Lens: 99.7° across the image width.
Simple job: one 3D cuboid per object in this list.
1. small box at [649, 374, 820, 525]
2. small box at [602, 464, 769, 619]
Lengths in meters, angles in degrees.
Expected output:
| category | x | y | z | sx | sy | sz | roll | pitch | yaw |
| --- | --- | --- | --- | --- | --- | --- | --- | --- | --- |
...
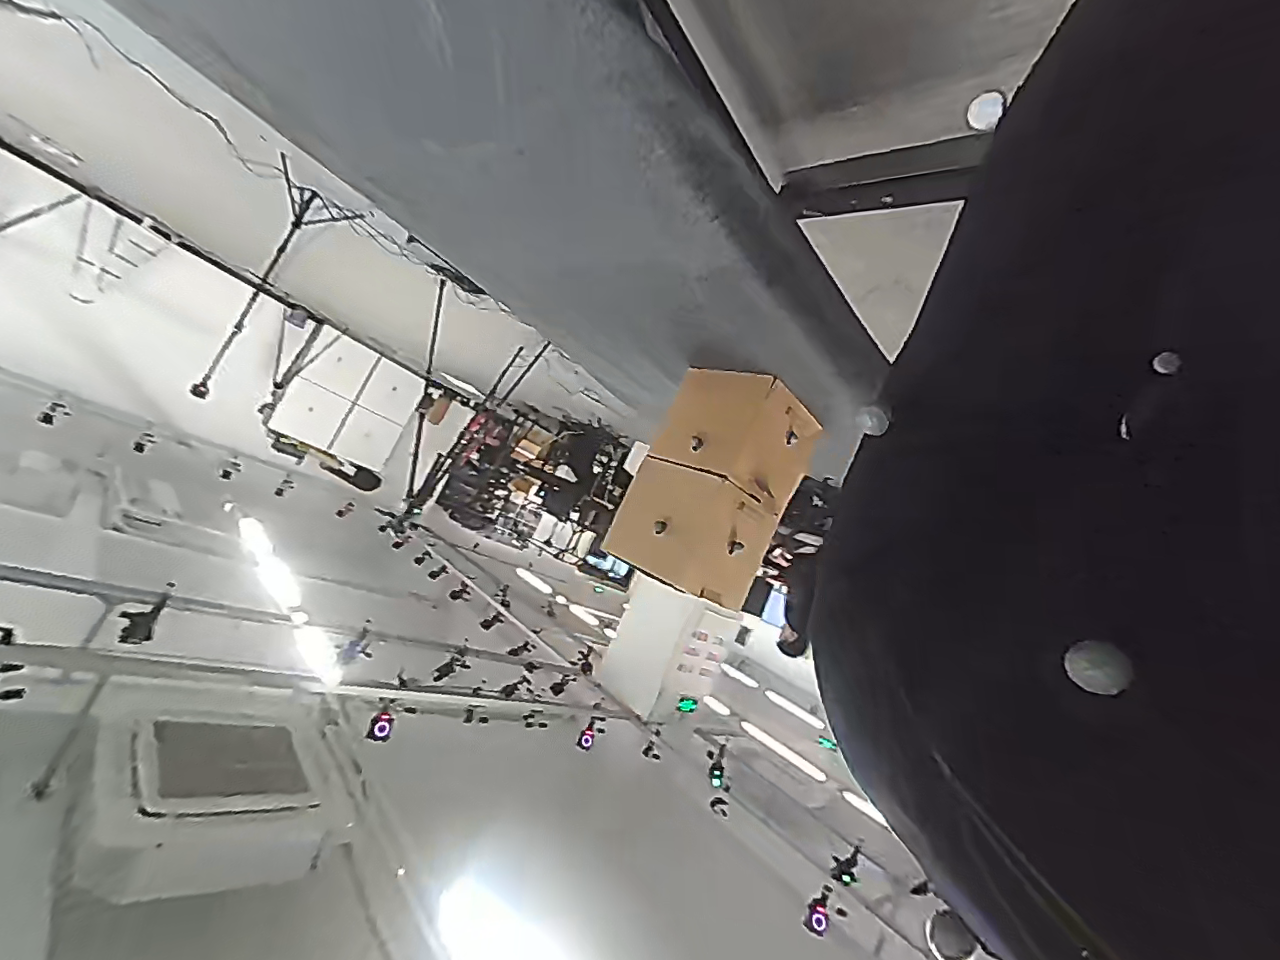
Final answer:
| category | x | y | z | sx | sy | sz | roll | pitch | yaw |
| --- | --- | --- | --- | --- | --- | --- | --- | --- | --- |
| small box | 0.153 | -0.055 | 0.863 | 0.179 | 0.176 | 0.168 | 19 | 169 | 47 |
| small box | 0.078 | 0.089 | 0.838 | 0.168 | 0.176 | 0.179 | 33 | 170 | -40 |
